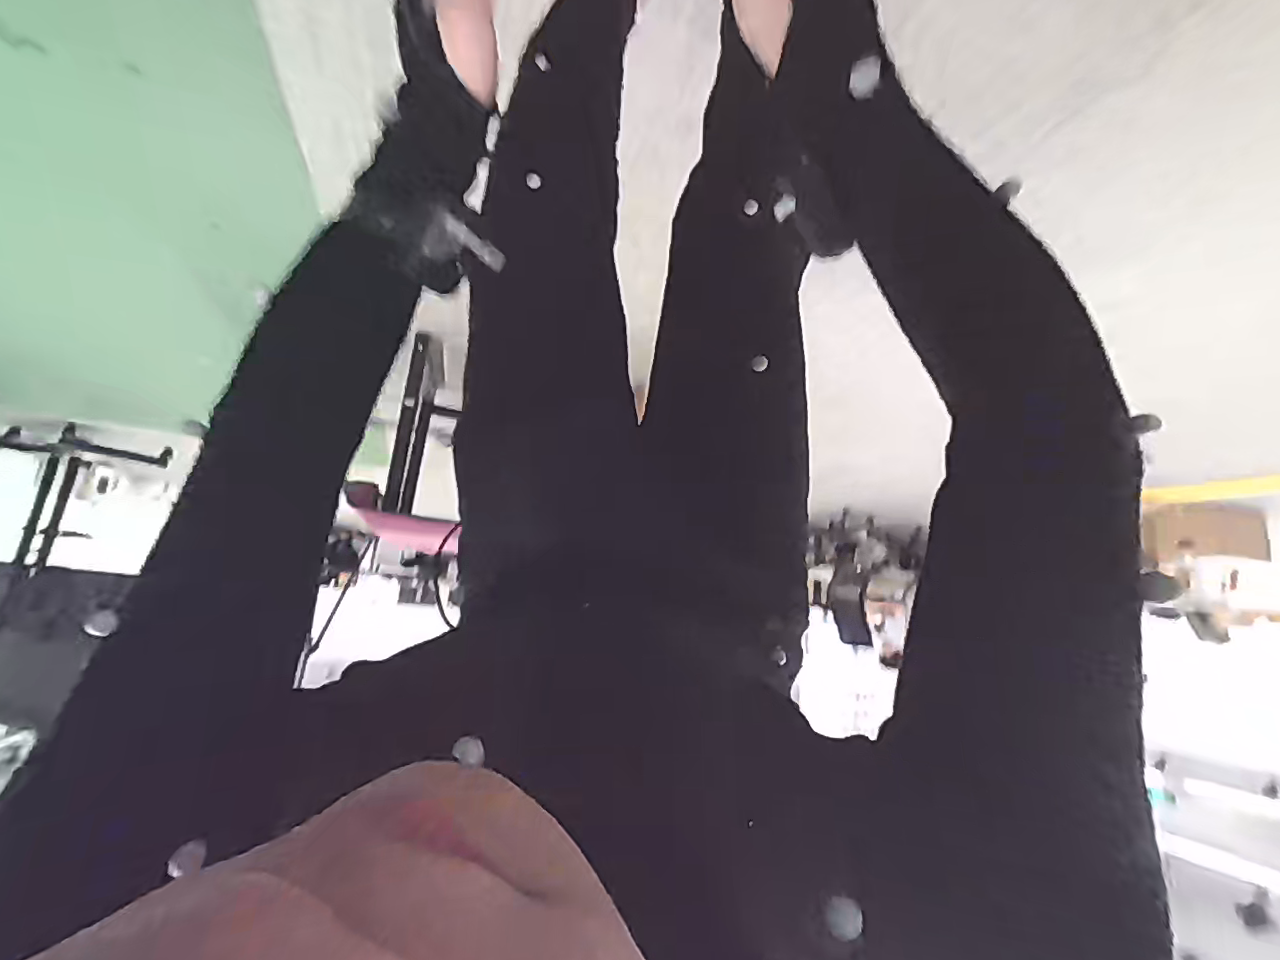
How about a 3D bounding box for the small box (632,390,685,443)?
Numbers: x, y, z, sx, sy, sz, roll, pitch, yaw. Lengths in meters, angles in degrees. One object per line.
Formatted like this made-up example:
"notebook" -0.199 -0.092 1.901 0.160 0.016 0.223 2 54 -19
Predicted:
"small box" 0.082 -0.272 2.313 0.179 0.176 0.168 10 165 -17
